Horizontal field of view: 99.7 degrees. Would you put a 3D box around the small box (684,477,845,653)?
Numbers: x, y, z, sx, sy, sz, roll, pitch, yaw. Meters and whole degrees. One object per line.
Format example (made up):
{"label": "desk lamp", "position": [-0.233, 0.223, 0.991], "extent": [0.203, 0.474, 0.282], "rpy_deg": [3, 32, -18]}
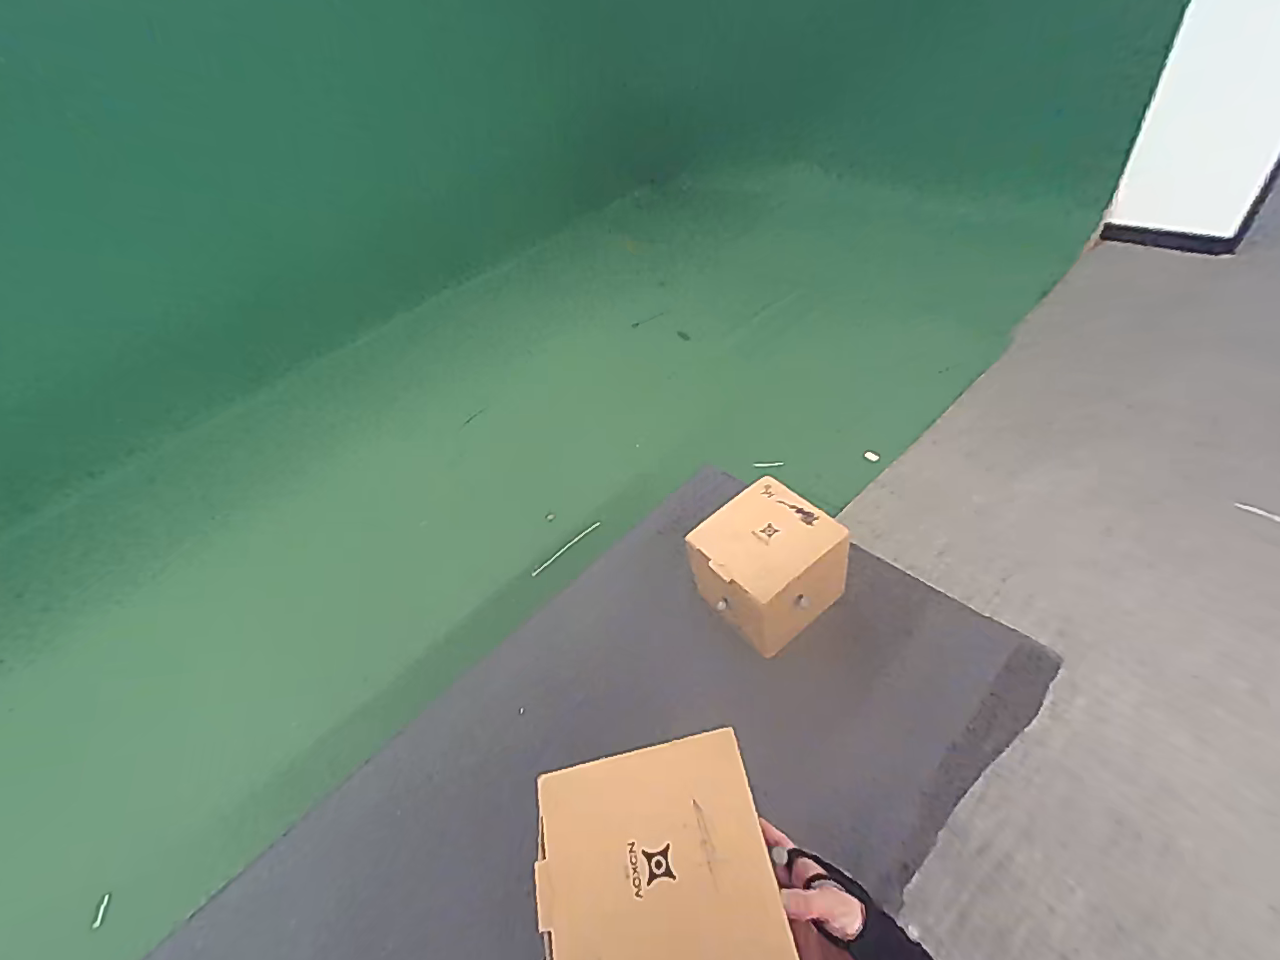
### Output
{"label": "small box", "position": [0.197, 0.135, 0.846], "extent": [0.179, 0.176, 0.168], "rpy_deg": [-35, 48, -16]}

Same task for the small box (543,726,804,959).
{"label": "small box", "position": [0.029, 0.339, 0.476], "extent": [0.179, 0.176, 0.168], "rpy_deg": [-15, 54, 1]}
